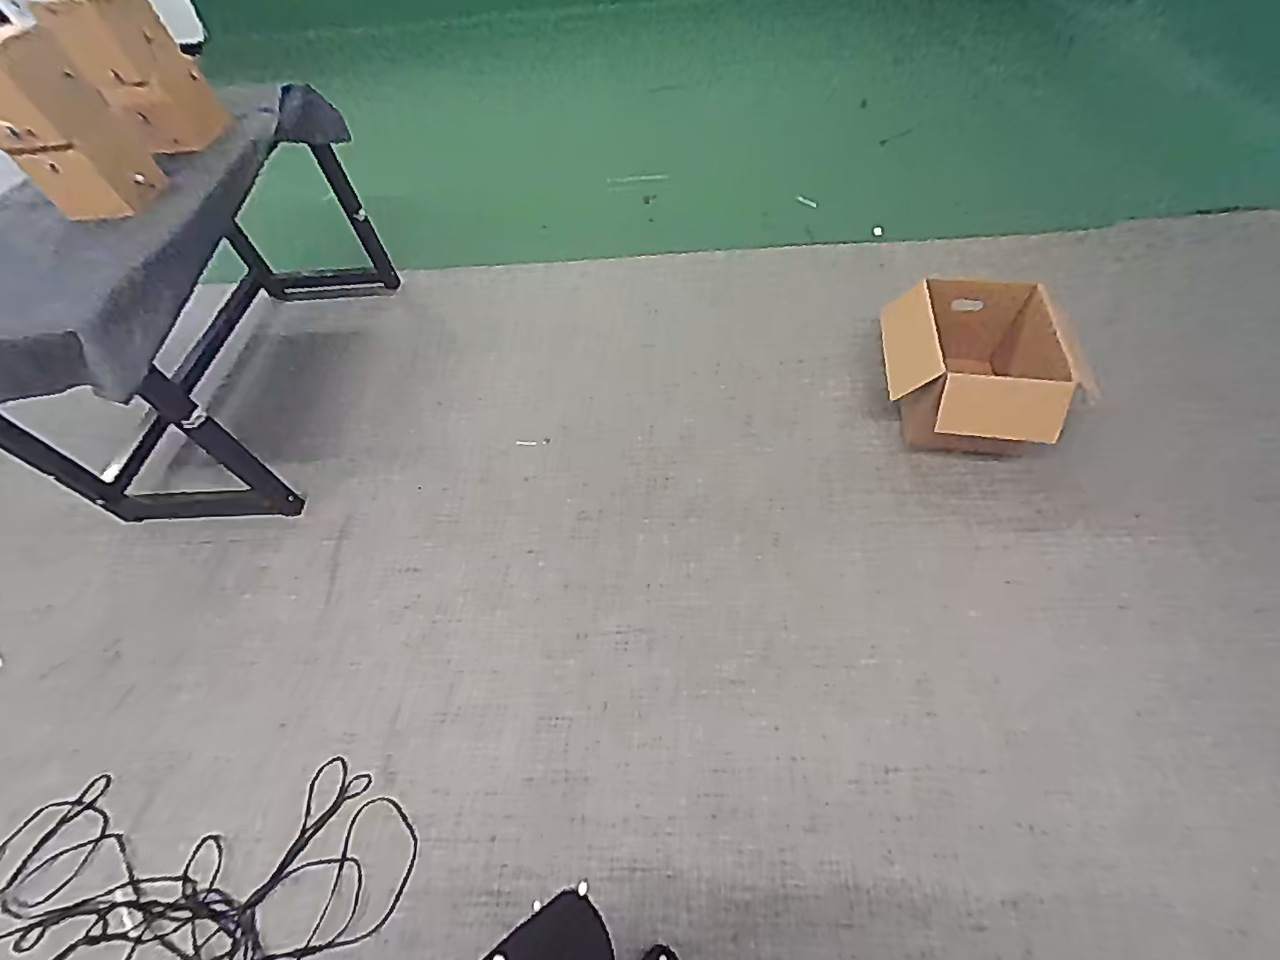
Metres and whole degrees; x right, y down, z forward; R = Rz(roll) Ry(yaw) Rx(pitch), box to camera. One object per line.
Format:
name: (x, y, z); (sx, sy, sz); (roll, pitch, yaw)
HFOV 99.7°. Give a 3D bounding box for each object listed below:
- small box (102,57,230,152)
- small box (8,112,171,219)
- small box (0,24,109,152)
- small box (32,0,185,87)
small box: (-1.285, -1.024, 1.485); (0.168, 0.176, 0.179); (-1, 55, 5)
small box: (-1.300, -0.747, 1.293); (0.179, 0.176, 0.168); (-2, 56, 3)
small box: (-1.312, -0.834, 1.156); (0.168, 0.176, 0.179); (-4, 56, 4)
small box: (-1.314, -1.115, 1.347); (0.168, 0.176, 0.179); (2, 56, 8)
